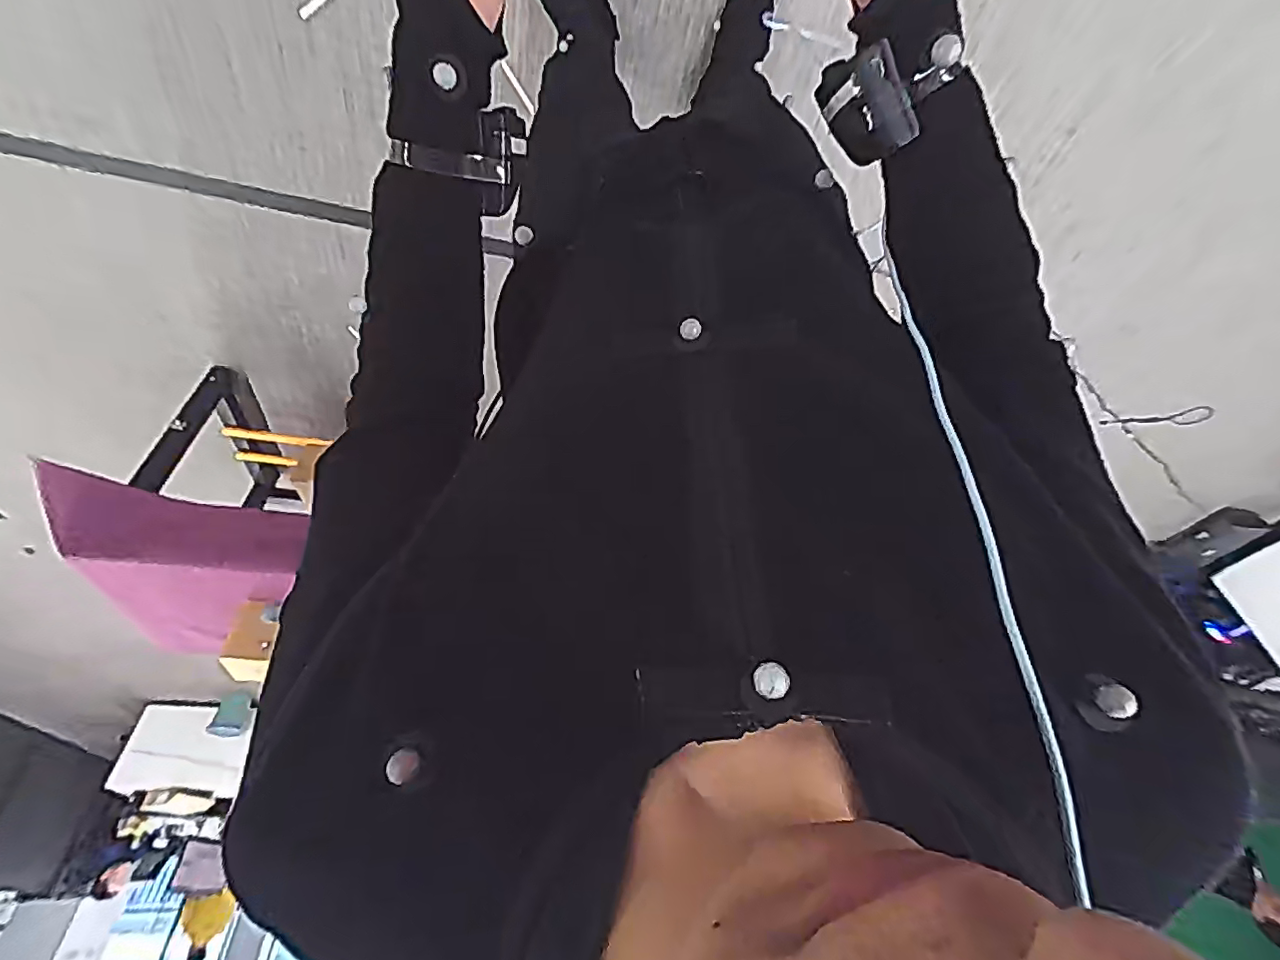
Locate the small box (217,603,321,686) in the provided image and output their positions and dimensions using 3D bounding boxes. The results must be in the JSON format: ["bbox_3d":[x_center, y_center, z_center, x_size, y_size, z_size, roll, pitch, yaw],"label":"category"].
[{"bbox_3d":[-1.021,0.457,1.505,0.179,0.176,0.168,9,140,-14],"label":"small box"}]
